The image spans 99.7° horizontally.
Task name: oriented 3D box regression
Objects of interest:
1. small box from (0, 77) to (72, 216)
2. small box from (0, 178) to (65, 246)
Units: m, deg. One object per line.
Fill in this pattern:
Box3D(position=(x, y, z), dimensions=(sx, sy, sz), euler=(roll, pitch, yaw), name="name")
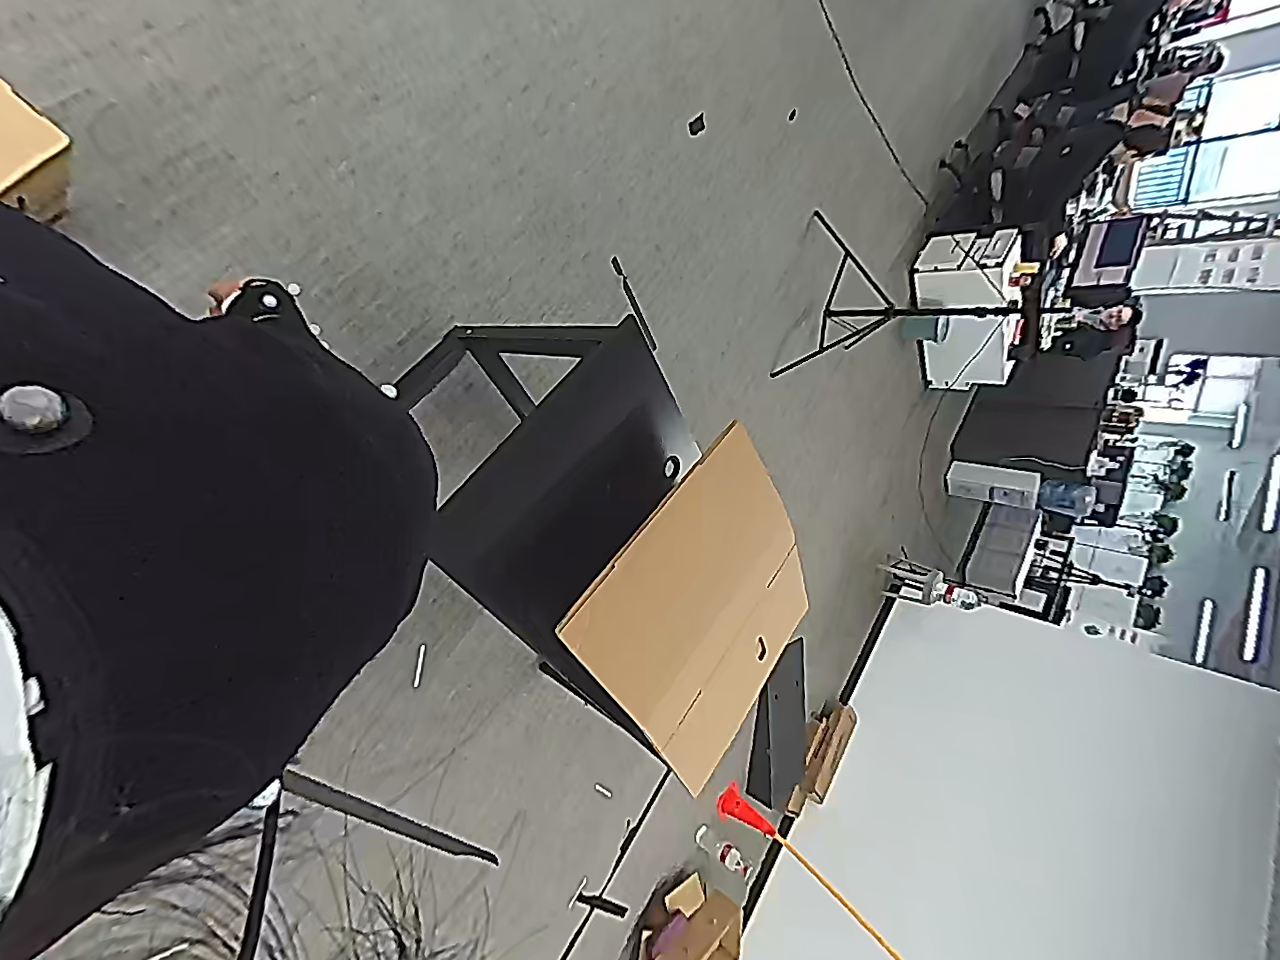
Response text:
Box3D(position=(-0.853, -0.420, 0.649), dimensions=(0.179, 0.176, 0.168), euler=(-59, 135, -19), name="small box")
Box3D(position=(-1.092, -0.479, 0.865), dimensions=(0.179, 0.176, 0.168), euler=(-55, 134, -20), name="small box")
